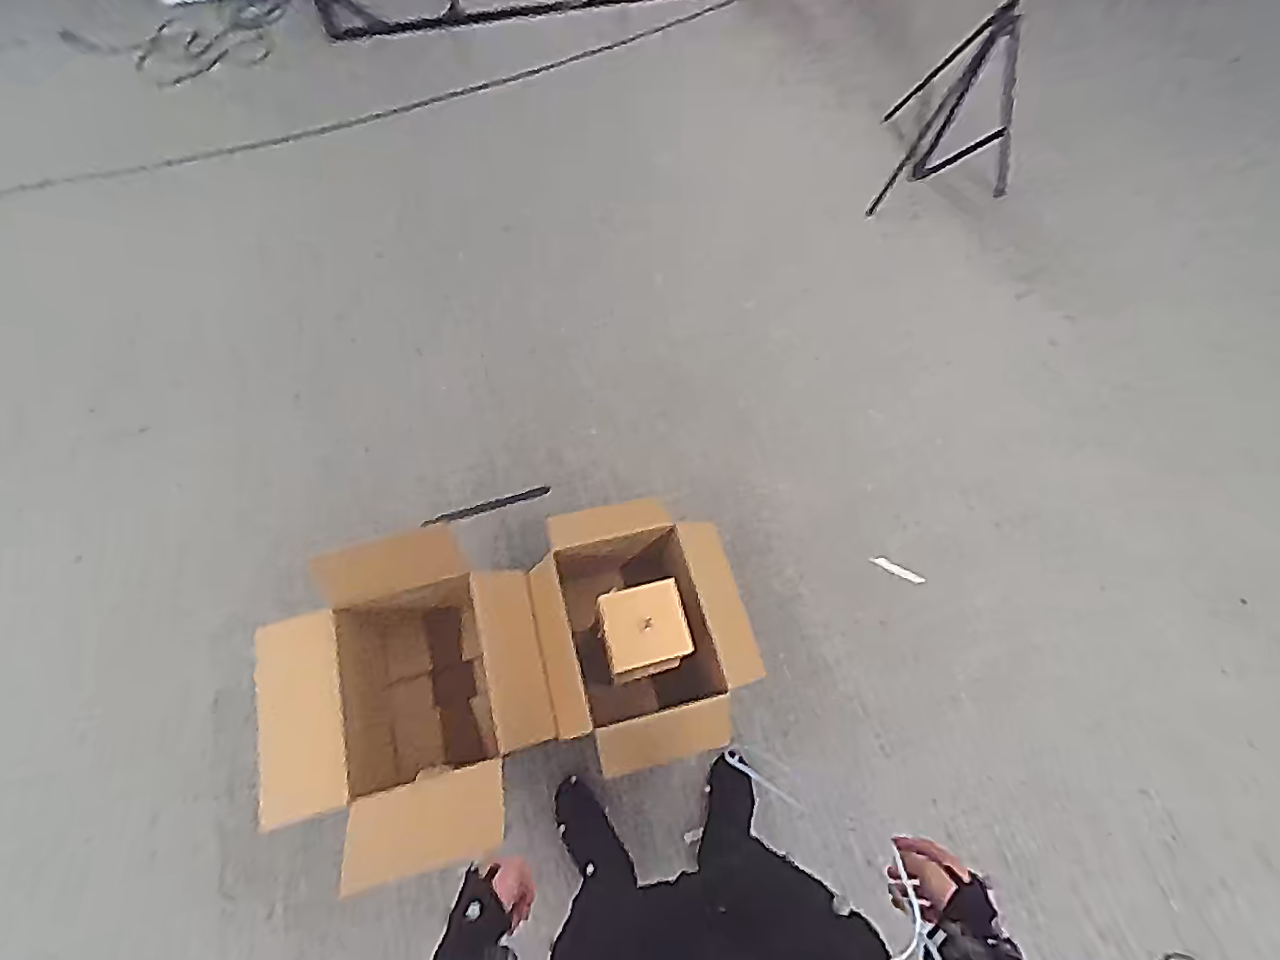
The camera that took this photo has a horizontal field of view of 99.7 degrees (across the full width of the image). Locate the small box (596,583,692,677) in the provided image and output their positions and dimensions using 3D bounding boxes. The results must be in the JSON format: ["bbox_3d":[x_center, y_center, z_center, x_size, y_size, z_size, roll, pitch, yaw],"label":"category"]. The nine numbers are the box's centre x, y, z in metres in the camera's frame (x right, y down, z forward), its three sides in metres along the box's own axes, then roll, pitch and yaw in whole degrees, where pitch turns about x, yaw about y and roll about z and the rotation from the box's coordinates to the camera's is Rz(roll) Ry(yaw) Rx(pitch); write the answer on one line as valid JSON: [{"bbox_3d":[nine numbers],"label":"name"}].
[{"bbox_3d":[0.001,0.347,1.243,0.179,0.176,0.168,-12,70,-11],"label":"small box"}]
